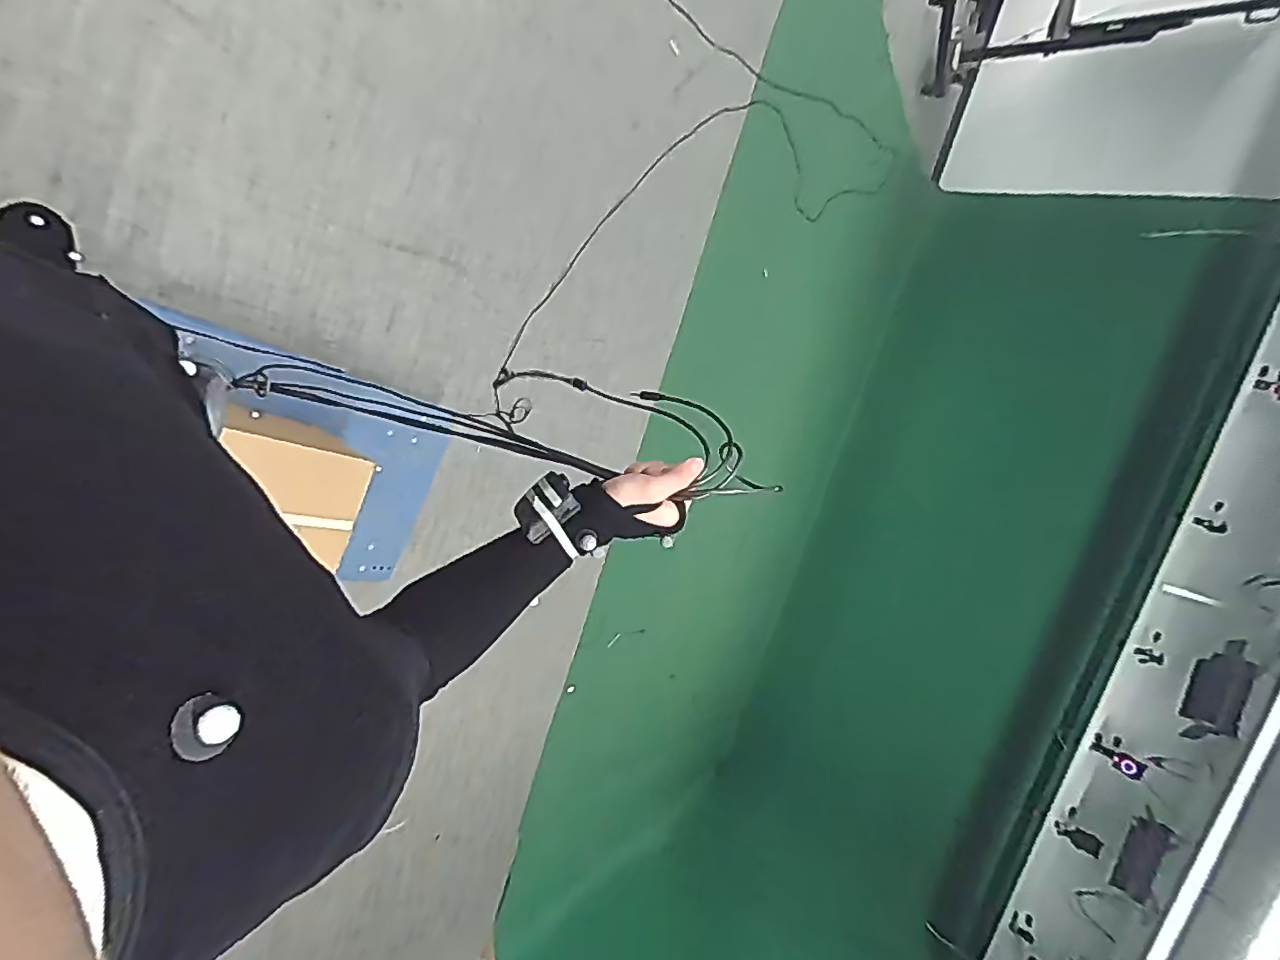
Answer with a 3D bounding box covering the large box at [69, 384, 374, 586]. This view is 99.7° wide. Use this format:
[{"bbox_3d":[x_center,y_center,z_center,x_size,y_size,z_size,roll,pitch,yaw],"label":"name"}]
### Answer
[{"bbox_3d":[-0.884,0.023,1.164,0.408,0.320,0.320,20,93,-56],"label":"large box"}]
